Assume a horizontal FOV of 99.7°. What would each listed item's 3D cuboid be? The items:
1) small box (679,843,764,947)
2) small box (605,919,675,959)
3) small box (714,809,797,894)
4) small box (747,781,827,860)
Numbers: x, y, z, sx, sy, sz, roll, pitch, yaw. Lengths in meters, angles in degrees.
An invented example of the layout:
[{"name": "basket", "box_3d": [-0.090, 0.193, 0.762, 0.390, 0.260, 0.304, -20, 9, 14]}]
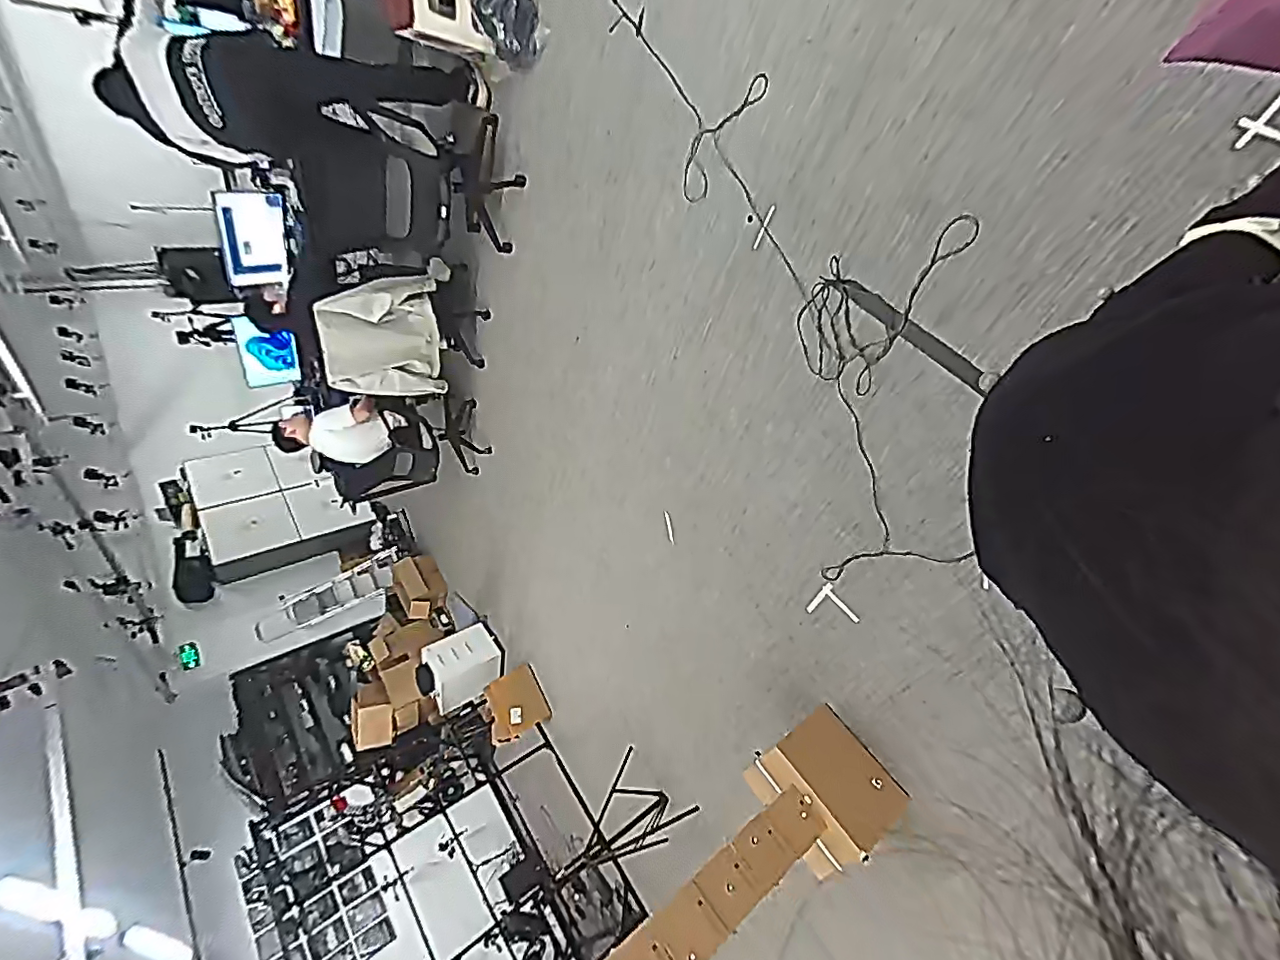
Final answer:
[{"name": "small box", "box_3d": [0.250, 1.251, 1.641, 0.168, 0.176, 0.179, 45, 136, 33]}, {"name": "small box", "box_3d": [0.000, 1.332, 1.445, 0.168, 0.176, 0.179, 41, 133, 35]}, {"name": "small box", "box_3d": [0.375, 1.203, 1.738, 0.168, 0.176, 0.179, 48, 139, 30]}, {"name": "small box", "box_3d": [0.499, 1.168, 1.835, 0.168, 0.176, 0.179, 47, 137, 28]}]
